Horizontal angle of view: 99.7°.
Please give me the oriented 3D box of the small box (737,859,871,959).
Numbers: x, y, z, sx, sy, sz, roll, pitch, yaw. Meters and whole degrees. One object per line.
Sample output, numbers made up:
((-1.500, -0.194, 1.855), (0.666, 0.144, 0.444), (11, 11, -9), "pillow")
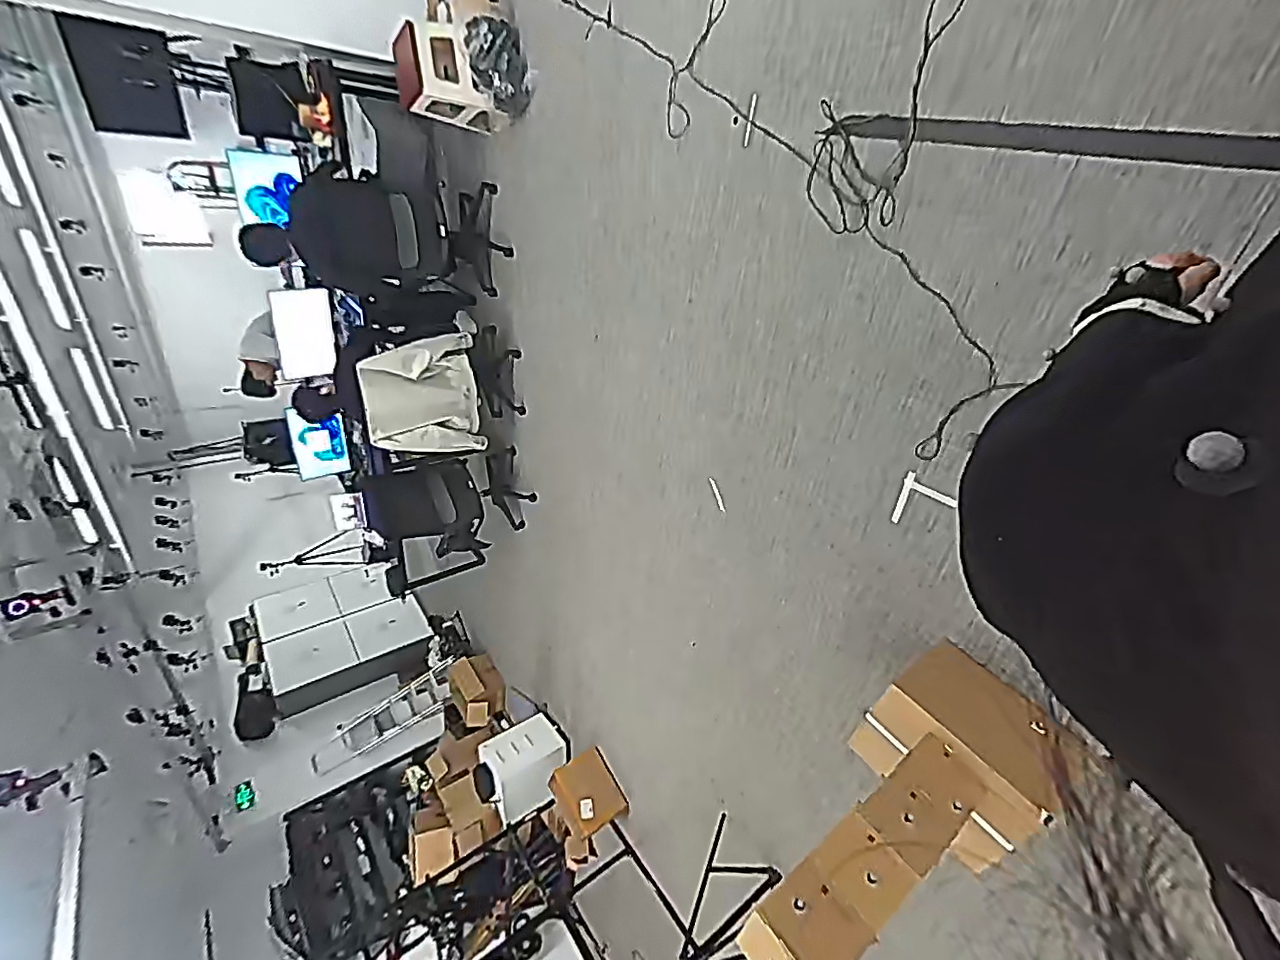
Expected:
((0.320, 0.896, 1.057), (0.168, 0.176, 0.179), (40, 136, 39), "small box")

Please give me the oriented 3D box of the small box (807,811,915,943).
((0.449, 0.852, 1.147), (0.168, 0.176, 0.179), (40, 134, 38), "small box")

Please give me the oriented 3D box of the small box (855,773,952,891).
((0.578, 0.817, 1.239), (0.168, 0.176, 0.179), (43, 134, 37), "small box")
